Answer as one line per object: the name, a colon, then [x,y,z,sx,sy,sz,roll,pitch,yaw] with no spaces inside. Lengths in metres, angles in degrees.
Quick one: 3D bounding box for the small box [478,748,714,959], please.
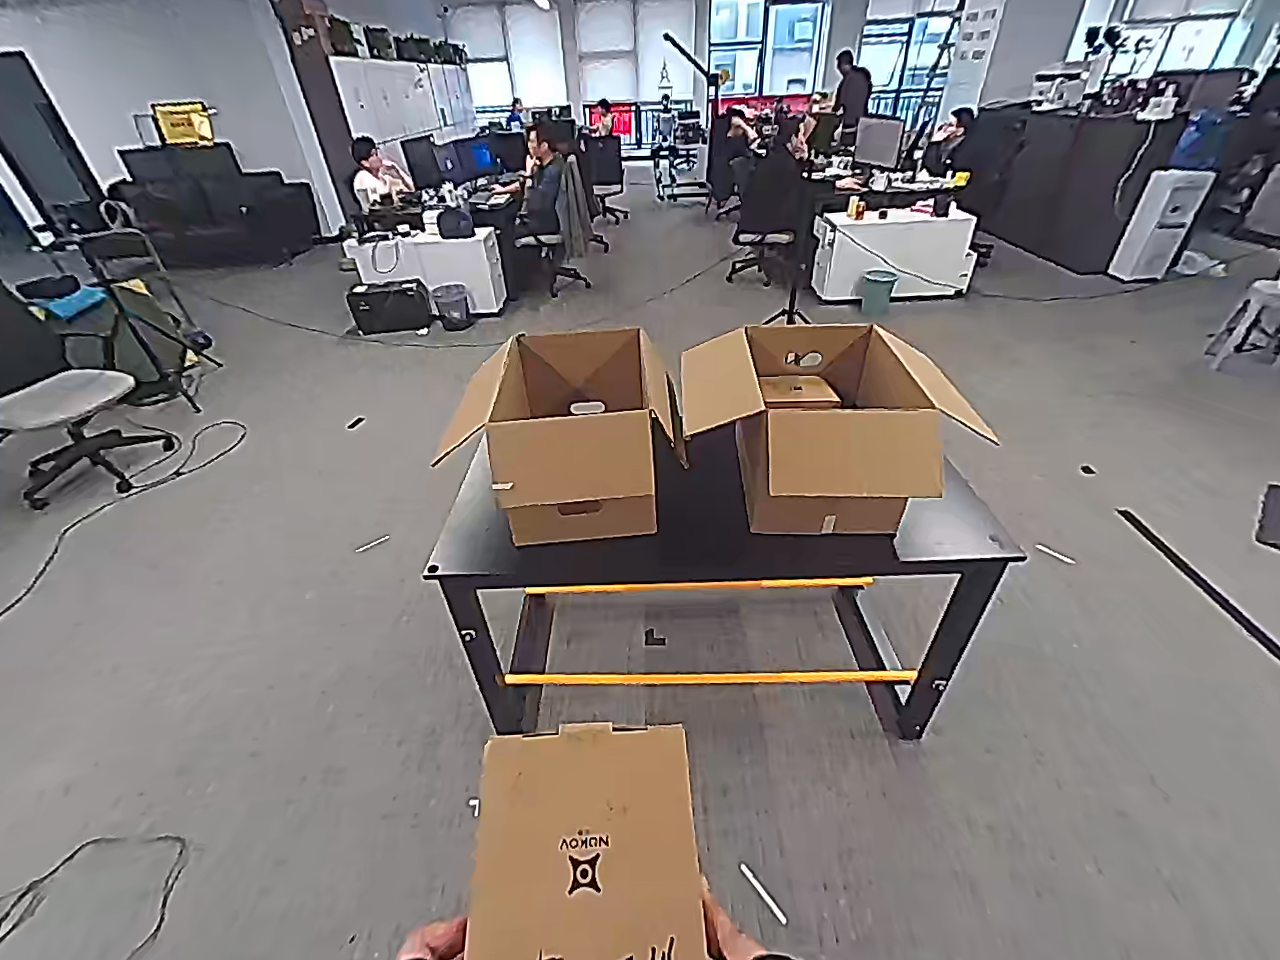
small box: [-0.034,0.347,0.464,0.168,0.176,0.179,-3,53,-3]
